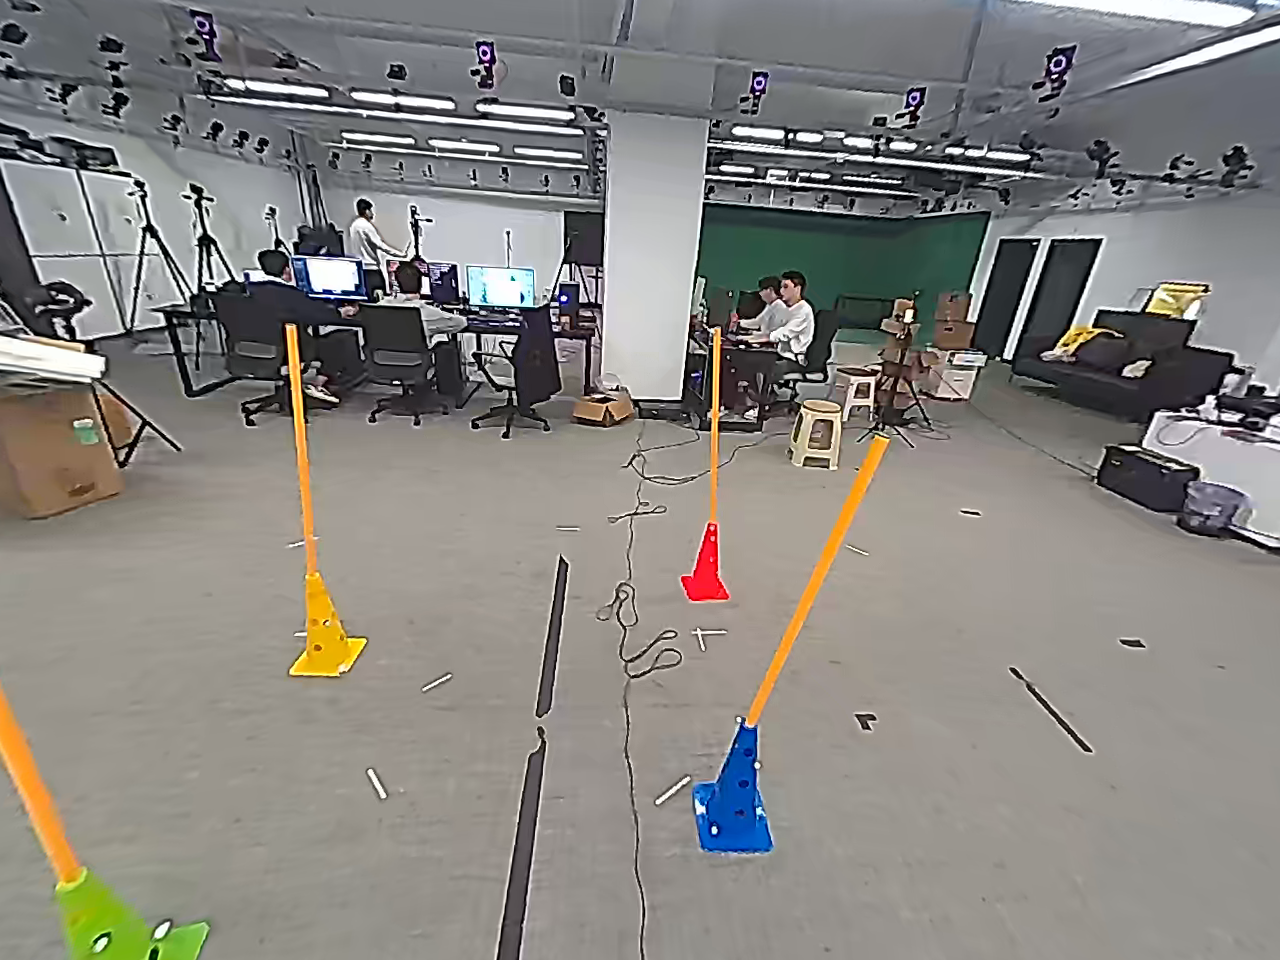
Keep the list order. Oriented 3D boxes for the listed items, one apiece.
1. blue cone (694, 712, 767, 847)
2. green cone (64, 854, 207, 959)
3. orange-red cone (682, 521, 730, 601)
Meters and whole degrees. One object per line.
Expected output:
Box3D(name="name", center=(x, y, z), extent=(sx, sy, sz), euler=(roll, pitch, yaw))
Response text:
Box3D(name="blue cone", center=(0.266, 0.794, 1.469), extent=(0.193, 0.380, 0.192), euler=(3, 22, -2))
Box3D(name="green cone", center=(-1.029, 0.871, 1.045), extent=(0.200, 0.368, 0.202), euler=(-2, 22, -14))
Box3D(name="orange-red cone", center=(0.319, 0.354, 2.488), extent=(0.199, 0.360, 0.198), euler=(-1, 23, -9))
